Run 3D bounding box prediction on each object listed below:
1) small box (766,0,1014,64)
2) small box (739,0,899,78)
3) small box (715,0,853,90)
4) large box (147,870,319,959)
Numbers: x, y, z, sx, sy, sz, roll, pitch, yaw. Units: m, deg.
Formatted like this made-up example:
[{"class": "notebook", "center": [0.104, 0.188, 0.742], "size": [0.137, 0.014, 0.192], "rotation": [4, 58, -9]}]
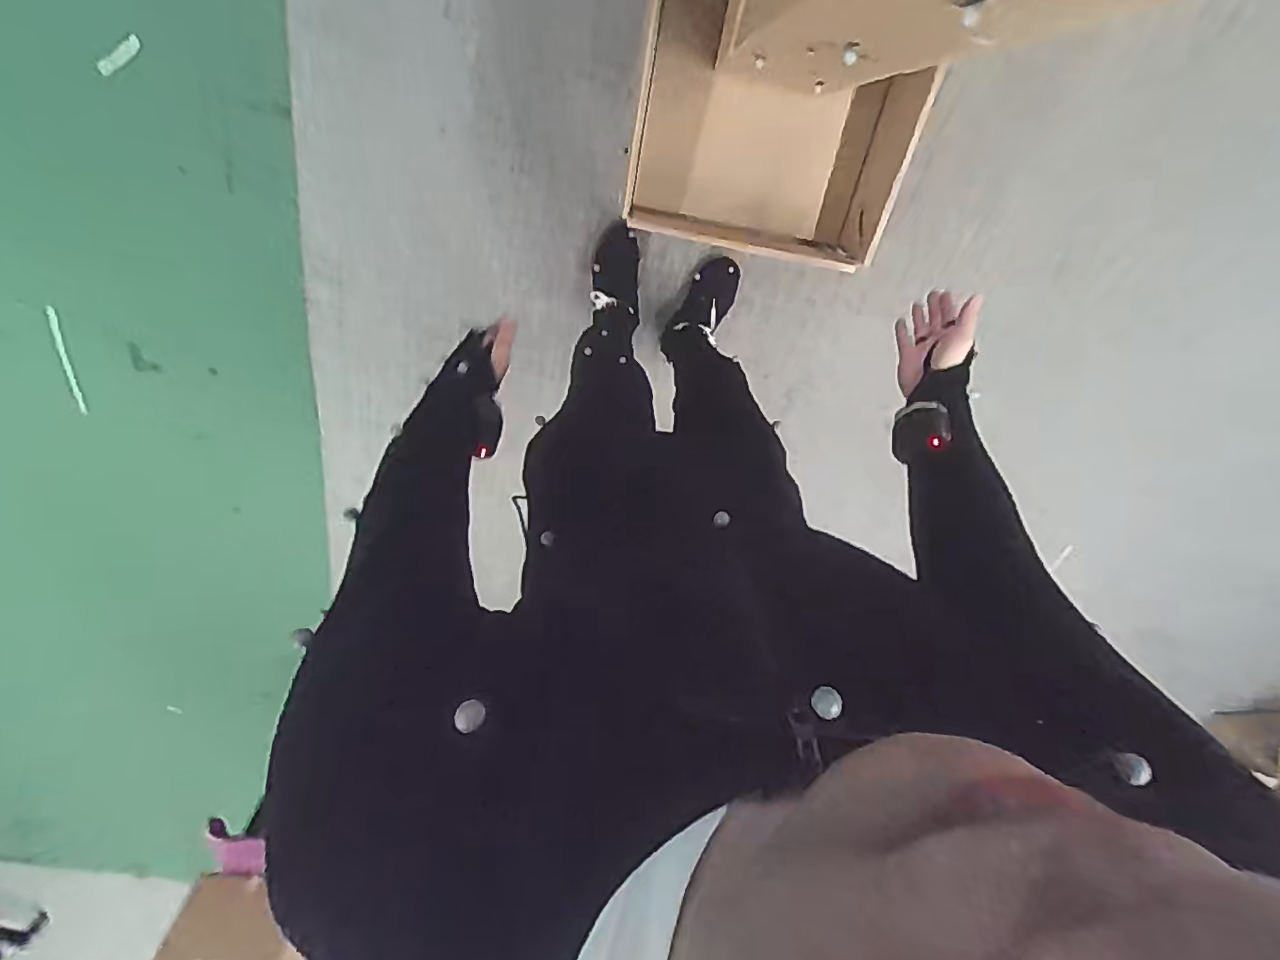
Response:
[{"class": "small box", "center": [0.216, -0.473, 0.440], "size": [0.168, 0.176, 0.179], "rotation": [9, 121, -6]}, {"class": "small box", "center": [0.215, -0.561, 0.579], "size": [0.168, 0.176, 0.179], "rotation": [11, 120, -8]}, {"class": "small box", "center": [0.209, -0.643, 0.722], "size": [0.179, 0.176, 0.168], "rotation": [9, 121, -7]}, {"class": "large box", "center": [-1.156, 1.383, 1.538], "size": [0.320, 0.320, 0.408], "rotation": [11, 121, -10]}]
